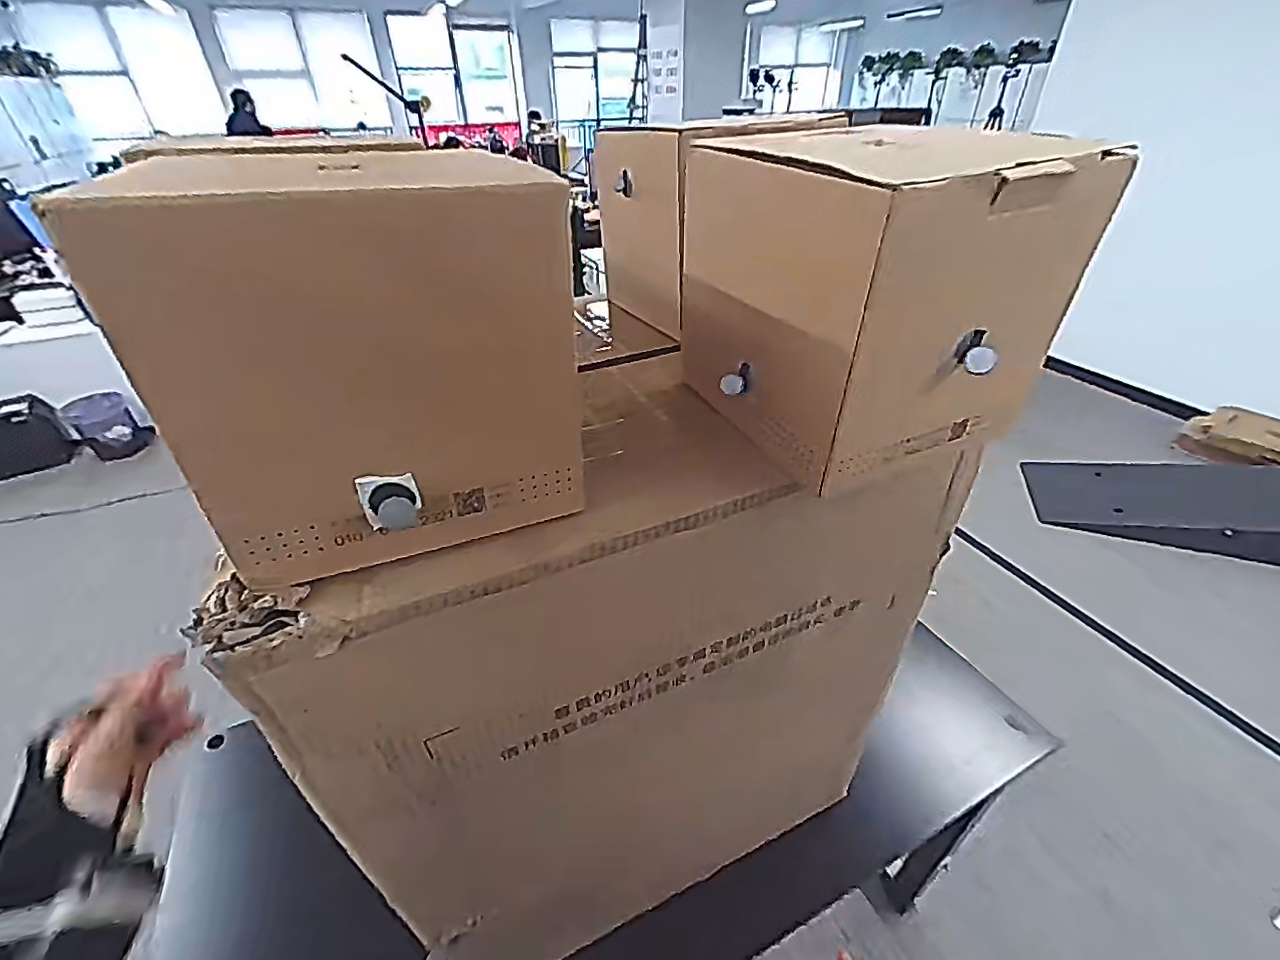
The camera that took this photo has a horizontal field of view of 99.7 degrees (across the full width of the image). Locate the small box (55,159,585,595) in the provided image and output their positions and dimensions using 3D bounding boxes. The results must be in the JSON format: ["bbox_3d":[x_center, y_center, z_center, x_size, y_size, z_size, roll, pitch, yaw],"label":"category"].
[{"bbox_3d":[-0.137,-0.070,0.295,0.168,0.176,0.179,-15,38,-21],"label":"small box"}]

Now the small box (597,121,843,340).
[{"bbox_3d":[0.068,-0.251,0.539,0.168,0.176,0.179,-18,36,-19],"label":"small box"}]

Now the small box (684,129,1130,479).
[{"bbox_3d":[0.140,-0.117,0.355,0.168,0.176,0.179,-17,41,-19],"label":"small box"}]

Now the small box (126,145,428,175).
[{"bbox_3d":[-0.256,-0.169,0.435,0.168,0.176,0.179,-19,38,-25],"label":"small box"}]
